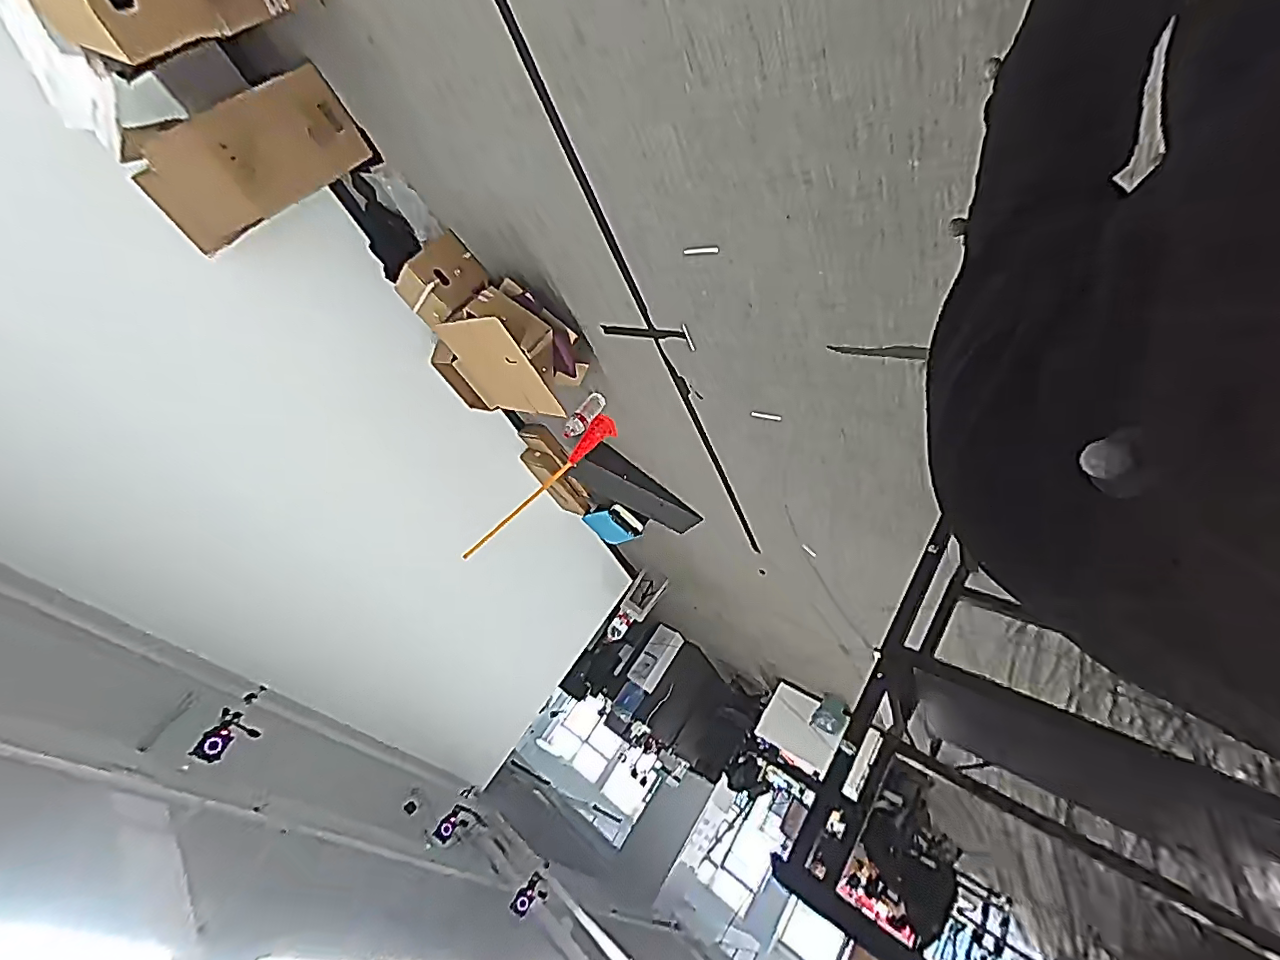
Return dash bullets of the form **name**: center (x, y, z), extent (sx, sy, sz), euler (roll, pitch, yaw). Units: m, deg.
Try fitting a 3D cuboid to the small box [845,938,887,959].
- **small box**: center (0.605, 1.321, 1.382), extent (0.168, 0.176, 0.179), euler (17, 151, 39)
